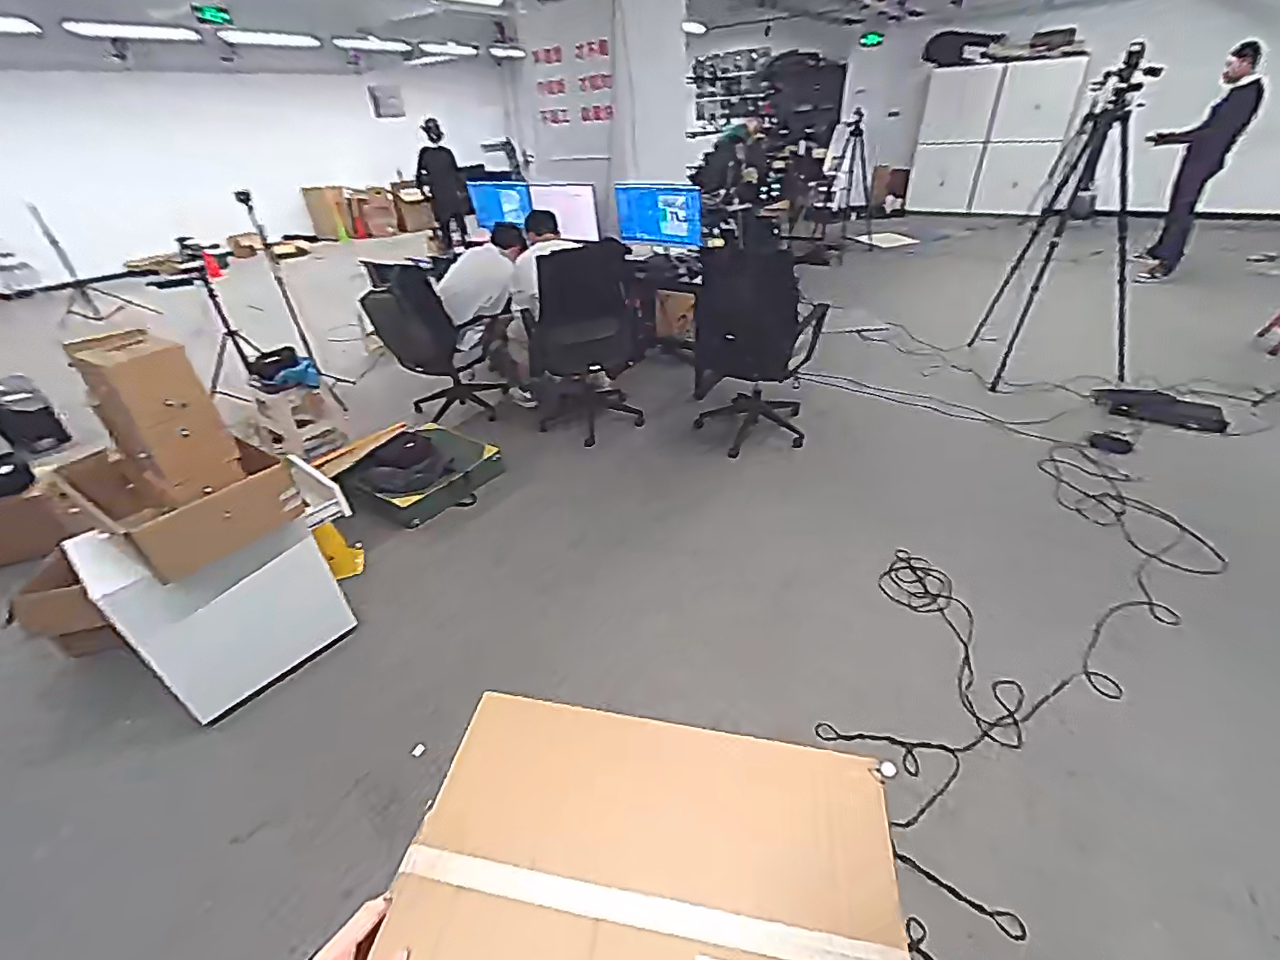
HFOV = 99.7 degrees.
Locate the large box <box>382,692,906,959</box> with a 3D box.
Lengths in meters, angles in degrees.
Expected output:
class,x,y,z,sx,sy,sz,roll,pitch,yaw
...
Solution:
class,x,y,z,sx,sy,sz,roll,pitch,yaw
large box,0.009,0.460,0.537,0.408,0.320,0.320,7,40,9
